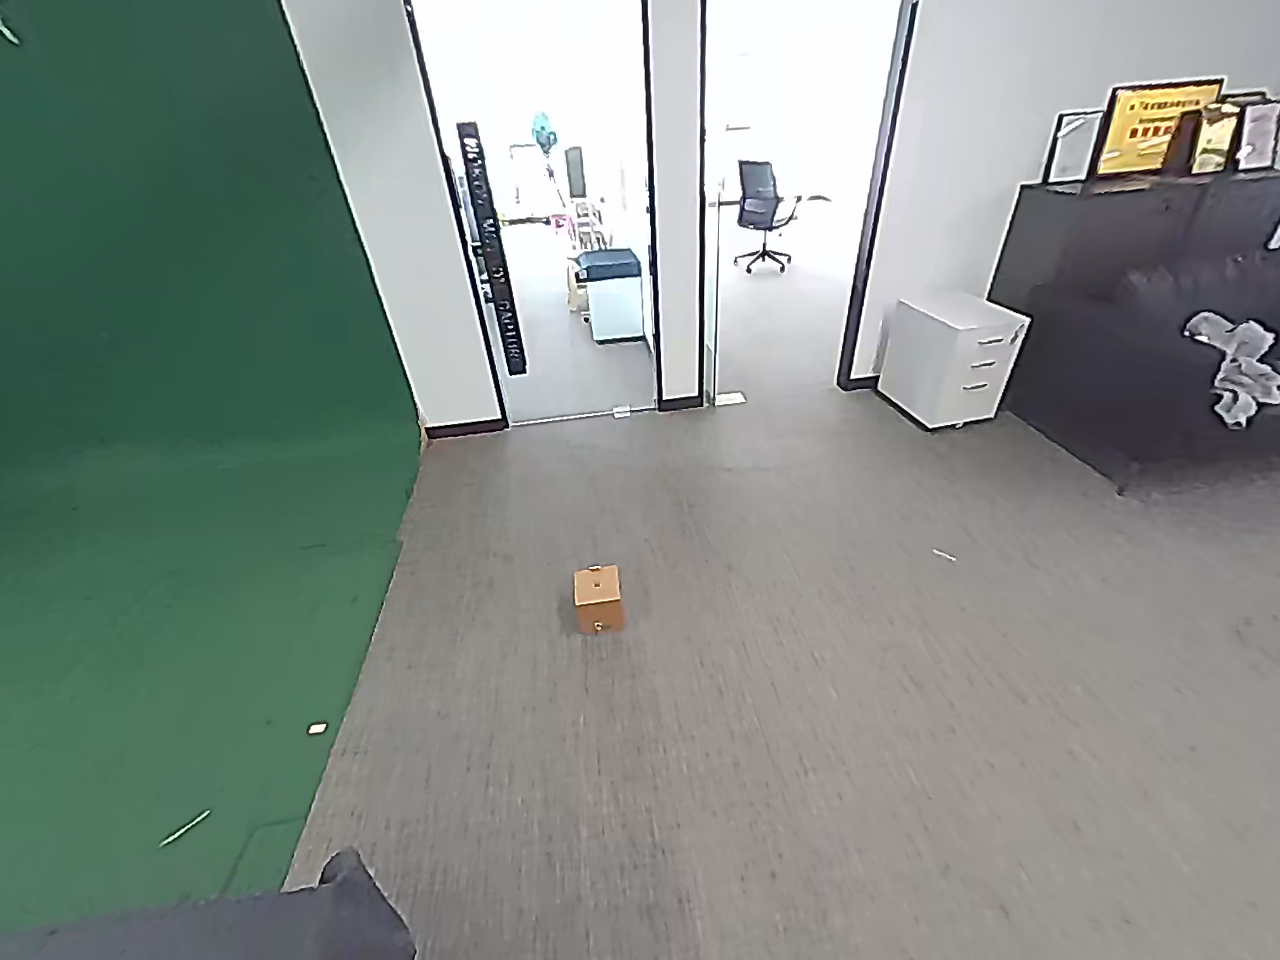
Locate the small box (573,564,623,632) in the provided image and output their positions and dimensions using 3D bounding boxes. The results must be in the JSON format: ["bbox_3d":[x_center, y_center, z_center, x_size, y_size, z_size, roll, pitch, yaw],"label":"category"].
[{"bbox_3d":[-0.154,0.439,2.009,0.168,0.176,0.179,-7,36,-1],"label":"small box"}]
